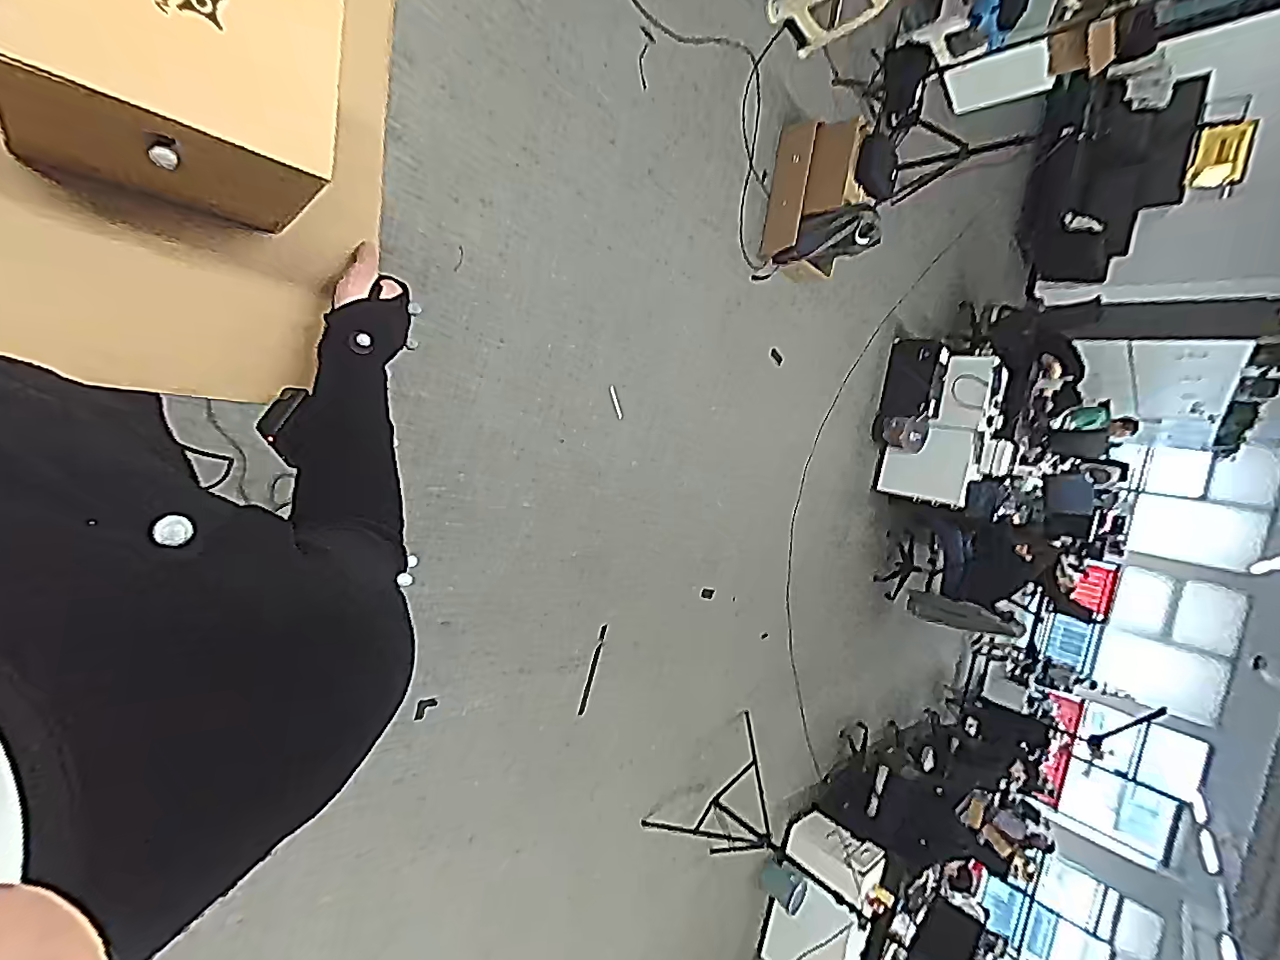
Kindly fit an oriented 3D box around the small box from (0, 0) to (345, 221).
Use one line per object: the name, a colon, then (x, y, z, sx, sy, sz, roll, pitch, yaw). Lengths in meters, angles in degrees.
small box: (-0.354, -0.323, 0.418, 0.179, 0.176, 0.168, 3, 93, -45)
